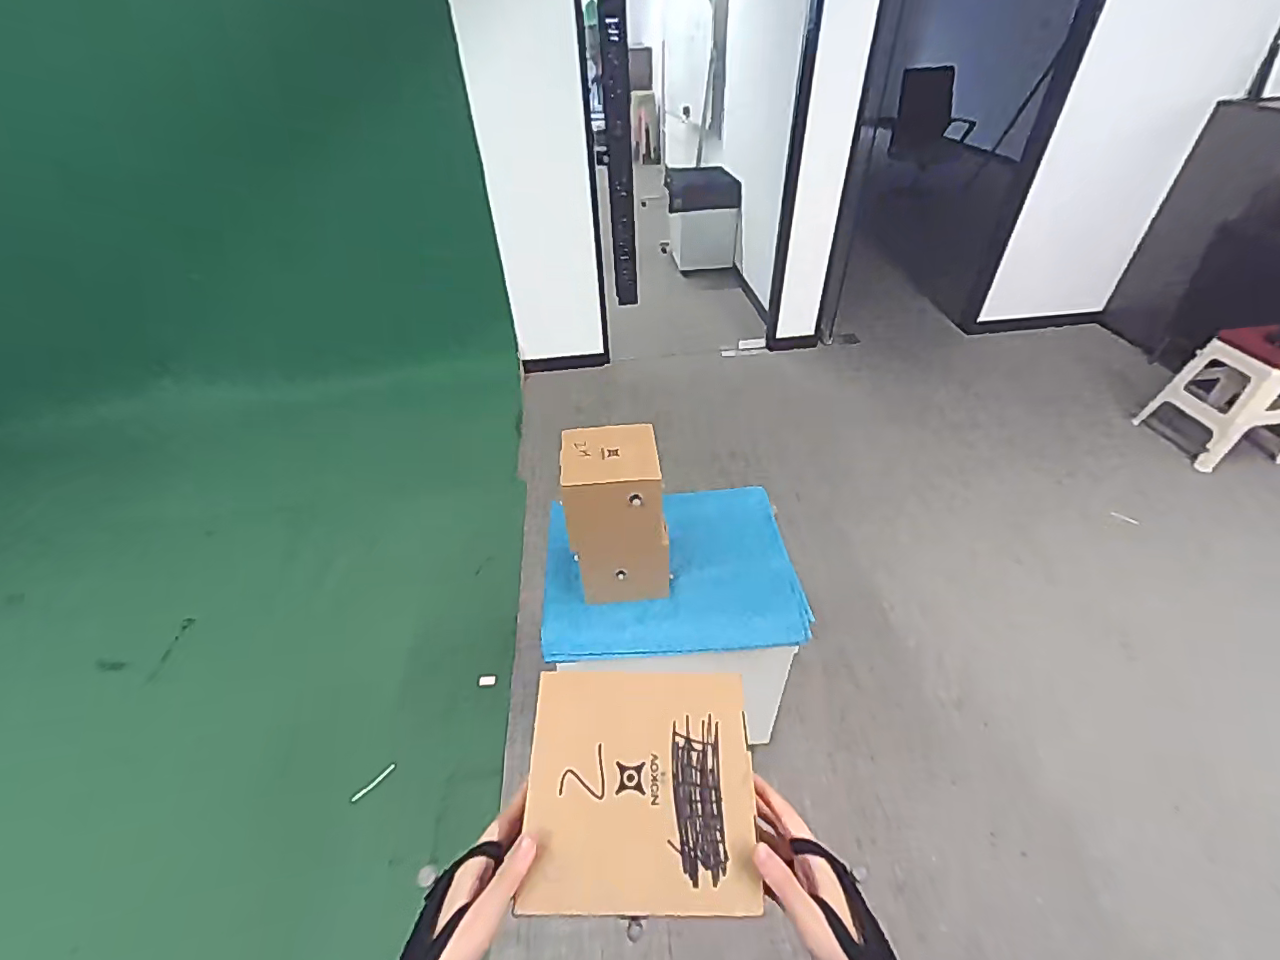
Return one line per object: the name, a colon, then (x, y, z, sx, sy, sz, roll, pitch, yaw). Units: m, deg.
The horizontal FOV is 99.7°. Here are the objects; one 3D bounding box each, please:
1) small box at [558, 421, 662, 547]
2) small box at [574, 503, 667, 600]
small box: (-0.055, 0.008, 1.009, 0.179, 0.176, 0.168, -4, 40, -3)
small box: (-0.041, 0.131, 1.118, 0.179, 0.176, 0.168, -5, 41, -2)
